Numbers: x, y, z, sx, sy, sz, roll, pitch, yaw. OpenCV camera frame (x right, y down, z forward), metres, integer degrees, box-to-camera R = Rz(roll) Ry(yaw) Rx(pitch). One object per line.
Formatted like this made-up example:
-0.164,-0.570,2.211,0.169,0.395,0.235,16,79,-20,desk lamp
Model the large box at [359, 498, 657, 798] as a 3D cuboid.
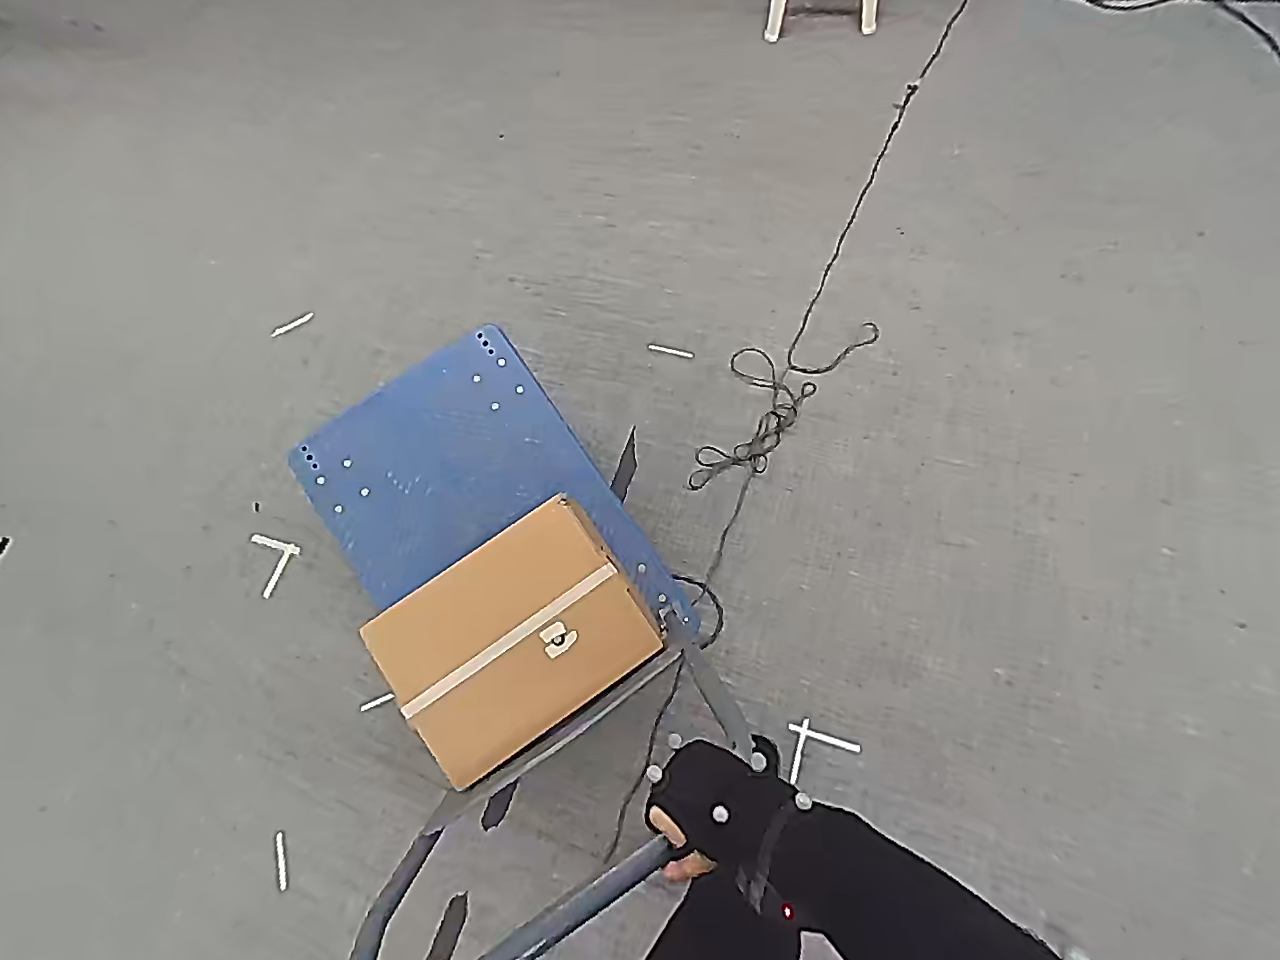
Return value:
-0.218,0.289,1.030,0.408,0.320,0.320,-35,84,-5,large box
